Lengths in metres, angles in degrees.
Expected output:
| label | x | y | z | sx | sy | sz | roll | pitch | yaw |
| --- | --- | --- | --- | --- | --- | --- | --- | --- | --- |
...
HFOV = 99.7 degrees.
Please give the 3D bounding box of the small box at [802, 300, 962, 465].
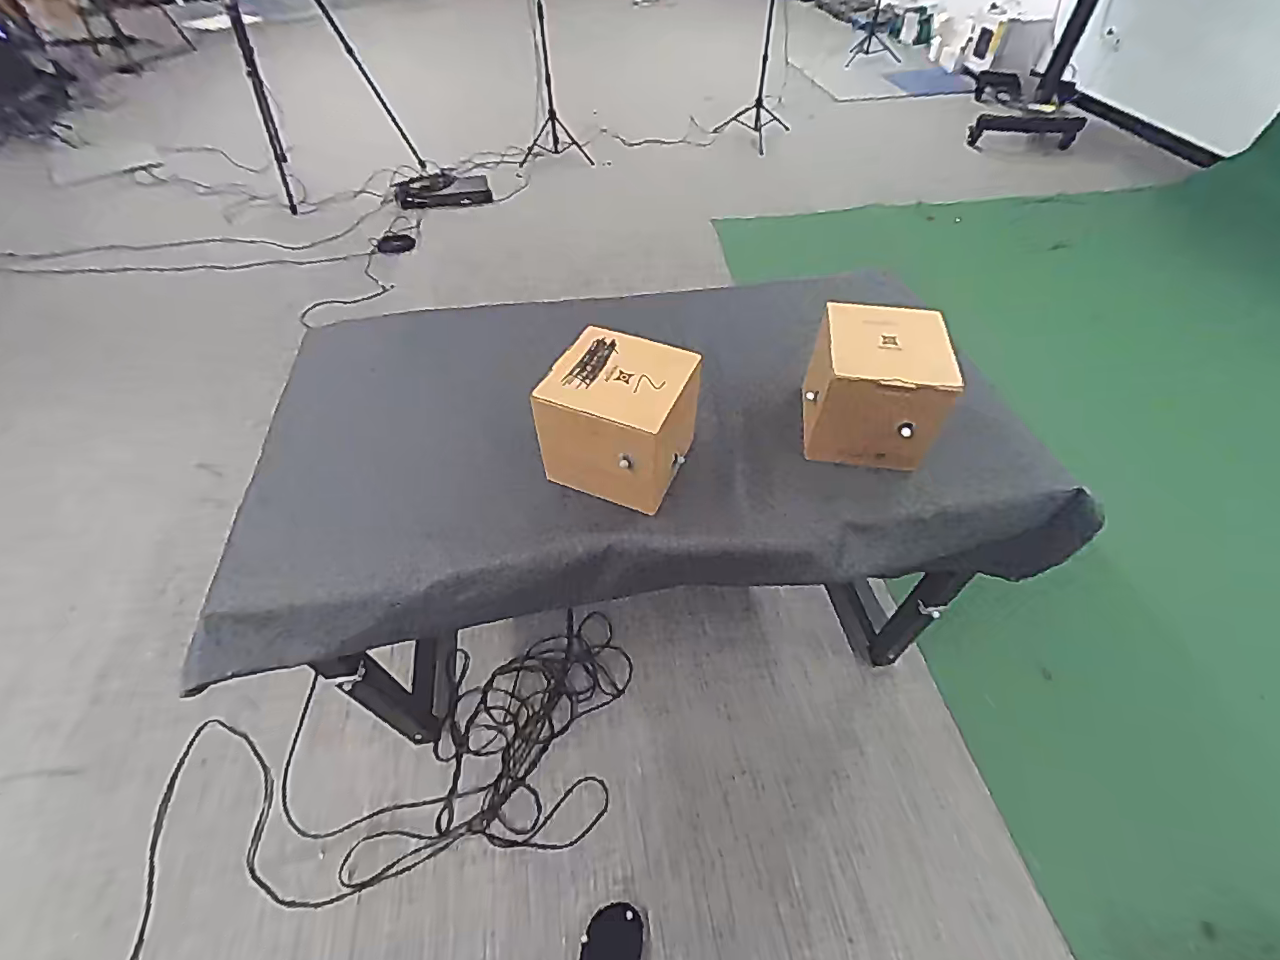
| label | x | y | z | sx | sy | sz | roll | pitch | yaw |
| --- | --- | --- | --- | --- | --- | --- | --- | --- | --- |
| small box | 0.345 | -0.142 | 0.808 | 0.168 | 0.176 | 0.179 | 7 | 50 | 6 |
